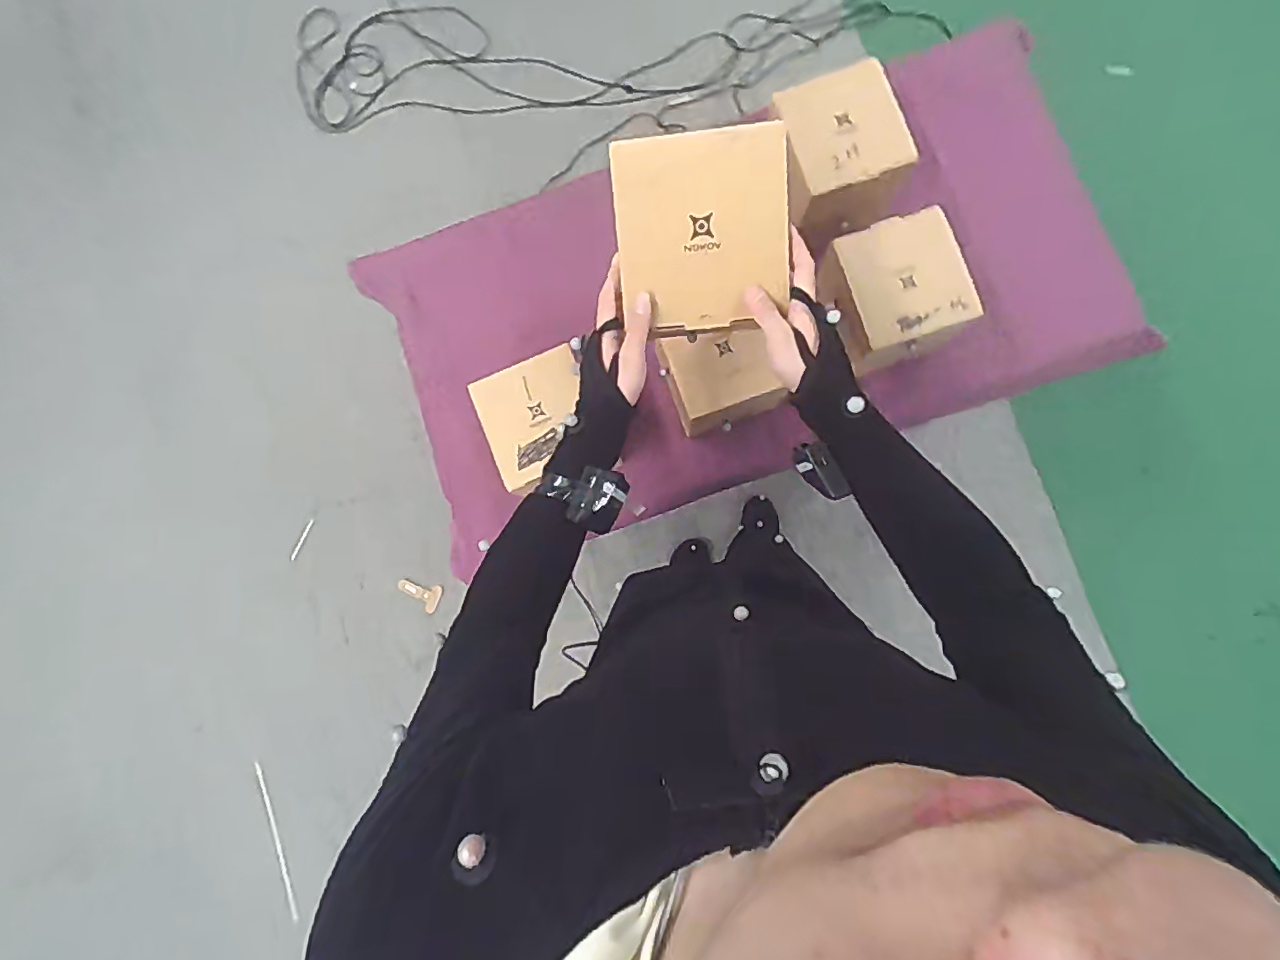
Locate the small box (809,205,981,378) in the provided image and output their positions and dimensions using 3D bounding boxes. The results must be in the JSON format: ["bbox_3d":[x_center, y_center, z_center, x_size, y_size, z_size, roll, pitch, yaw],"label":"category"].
[{"bbox_3d":[0.383,-0.284,0.848,0.168,0.176,0.179,-18,83,3],"label":"small box"}]

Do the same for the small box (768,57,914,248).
[{"bbox_3d":[0.303,-0.517,0.876,0.168,0.176,0.179,-18,84,4],"label":"small box"}]

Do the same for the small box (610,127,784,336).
[{"bbox_3d":[0.062,-0.256,0.600,0.168,0.176,0.179,-3,104,6],"label":"small box"}]

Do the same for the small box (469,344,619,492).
[{"bbox_3d":[-0.144,-0.087,0.874,0.168,0.176,0.179,-22,81,2],"label":"small box"}]

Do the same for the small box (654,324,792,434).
[{"bbox_3d":[0.122,-0.190,0.864,0.168,0.176,0.179,-19,84,4],"label":"small box"}]
